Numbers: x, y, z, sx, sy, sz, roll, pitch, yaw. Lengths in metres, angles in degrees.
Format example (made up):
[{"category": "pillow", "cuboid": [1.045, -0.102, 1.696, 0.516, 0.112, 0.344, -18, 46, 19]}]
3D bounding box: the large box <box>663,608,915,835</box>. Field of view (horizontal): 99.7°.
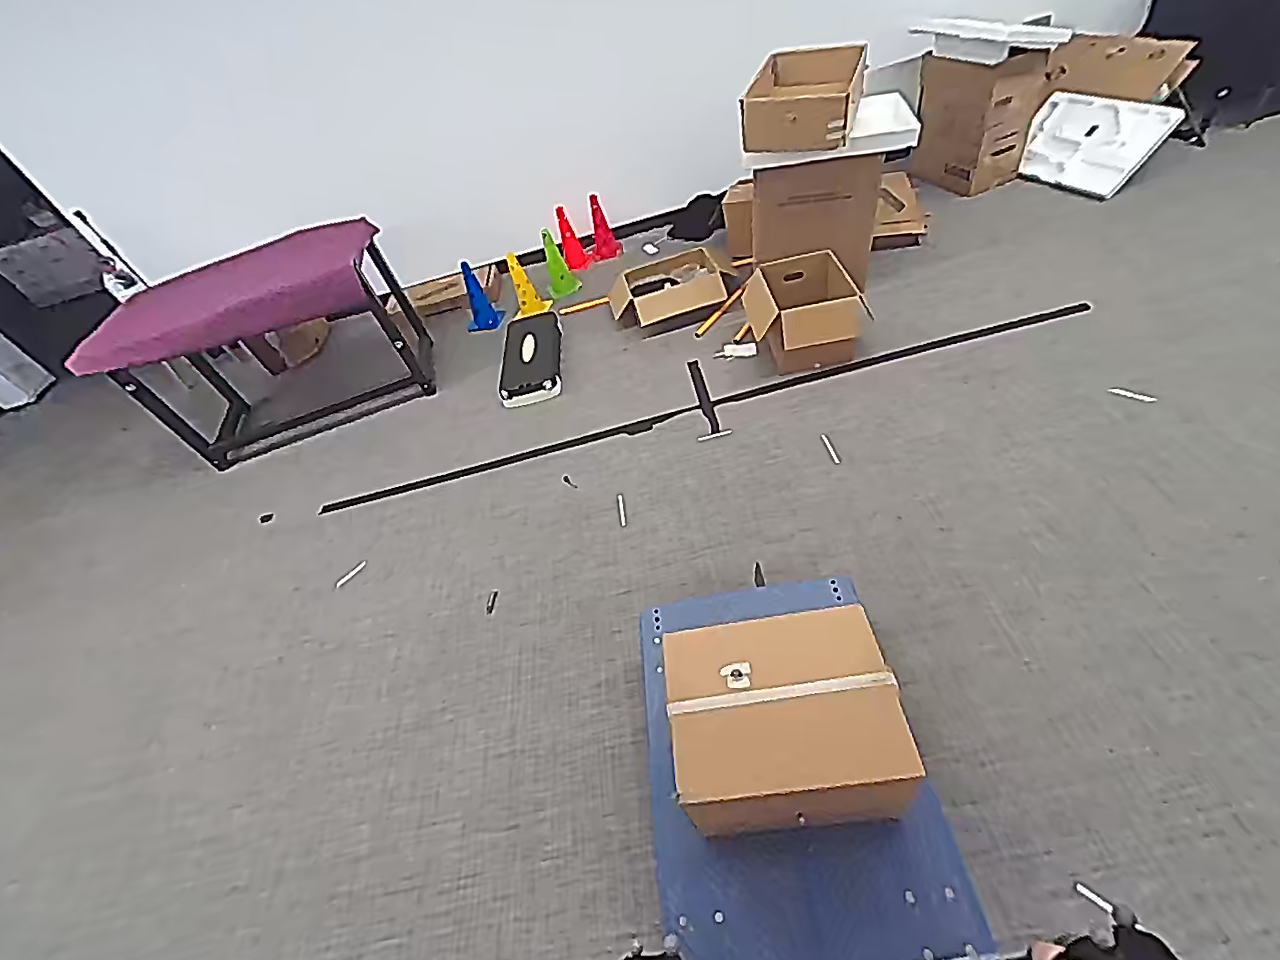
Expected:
[{"category": "large box", "cuboid": [0.285, 0.505, 1.114, 0.408, 0.320, 0.320, -12, 45, 7]}]
